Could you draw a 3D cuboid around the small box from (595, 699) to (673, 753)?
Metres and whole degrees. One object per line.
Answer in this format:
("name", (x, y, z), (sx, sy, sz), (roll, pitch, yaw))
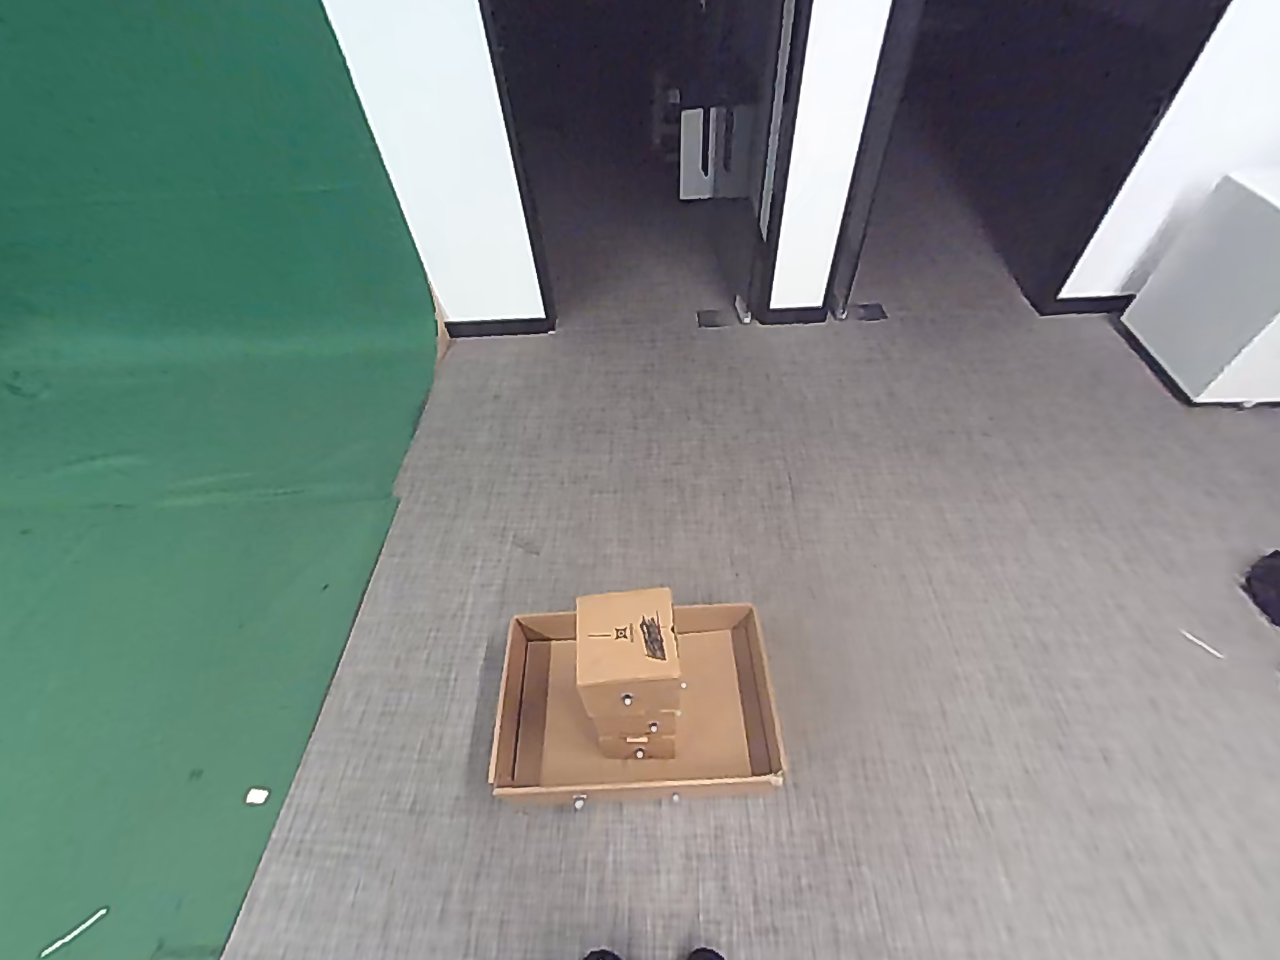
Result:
("small box", (-0.007, 0.525, 1.261), (0.168, 0.176, 0.179), (-1, 50, 3))

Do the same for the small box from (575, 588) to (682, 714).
("small box", (-0.023, 0.321, 1.007), (0.179, 0.176, 0.168), (-6, 50, -3))

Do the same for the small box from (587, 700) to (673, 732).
("small box", (-0.016, 0.420, 1.138), (0.168, 0.176, 0.179), (-1, 49, 2))
